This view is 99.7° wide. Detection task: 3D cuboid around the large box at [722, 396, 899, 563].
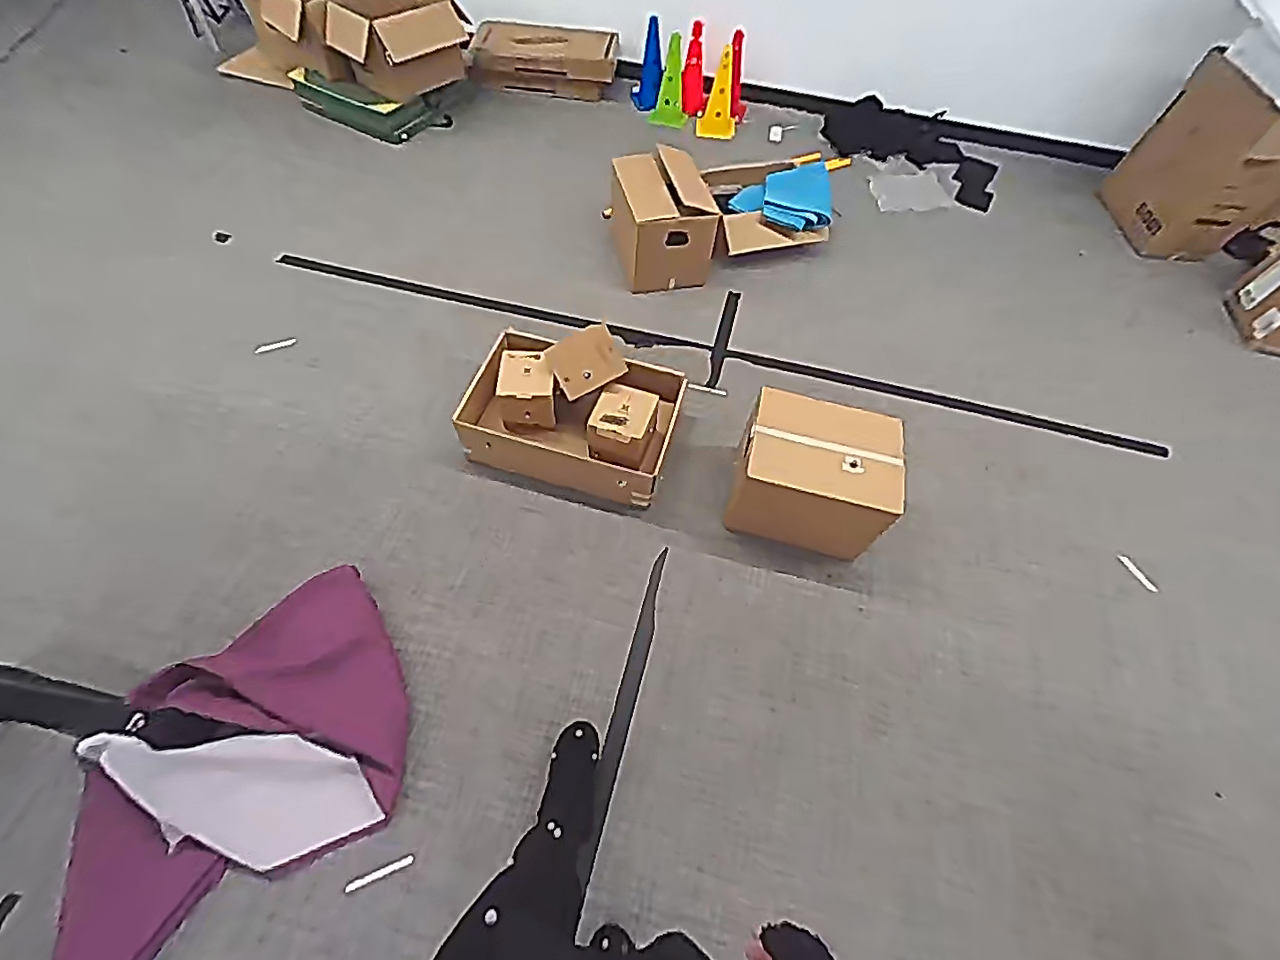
[{"bbox_3d":[0.482,0.006,1.577,0.408,0.320,0.320,14,59,3],"label":"large box"}]
